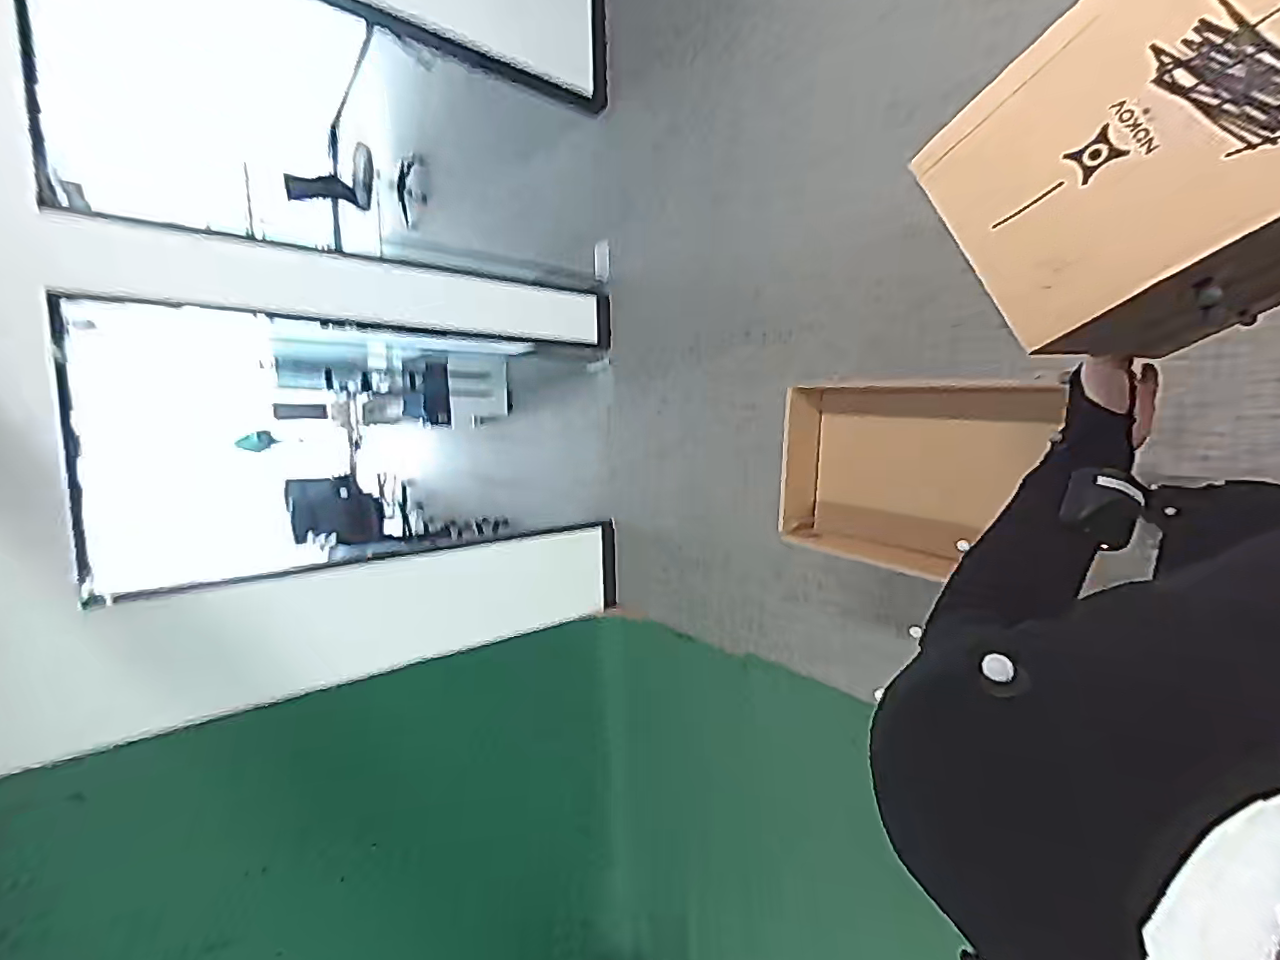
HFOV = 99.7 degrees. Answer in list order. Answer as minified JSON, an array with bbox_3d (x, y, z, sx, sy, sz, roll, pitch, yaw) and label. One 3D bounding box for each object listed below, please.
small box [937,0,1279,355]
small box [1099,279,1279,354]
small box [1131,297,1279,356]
[{"bbox_3d":[0.340,-0.197,0.344,0.179,0.176,0.168,-36,70,48],"label":"small box"},{"bbox_3d":[0.465,-0.218,0.449,0.179,0.176,0.168,-35,71,49],"label":"small box"},{"bbox_3d":[0.590,-0.238,0.552,0.179,0.176,0.168,-33,72,48],"label":"small box"}]
